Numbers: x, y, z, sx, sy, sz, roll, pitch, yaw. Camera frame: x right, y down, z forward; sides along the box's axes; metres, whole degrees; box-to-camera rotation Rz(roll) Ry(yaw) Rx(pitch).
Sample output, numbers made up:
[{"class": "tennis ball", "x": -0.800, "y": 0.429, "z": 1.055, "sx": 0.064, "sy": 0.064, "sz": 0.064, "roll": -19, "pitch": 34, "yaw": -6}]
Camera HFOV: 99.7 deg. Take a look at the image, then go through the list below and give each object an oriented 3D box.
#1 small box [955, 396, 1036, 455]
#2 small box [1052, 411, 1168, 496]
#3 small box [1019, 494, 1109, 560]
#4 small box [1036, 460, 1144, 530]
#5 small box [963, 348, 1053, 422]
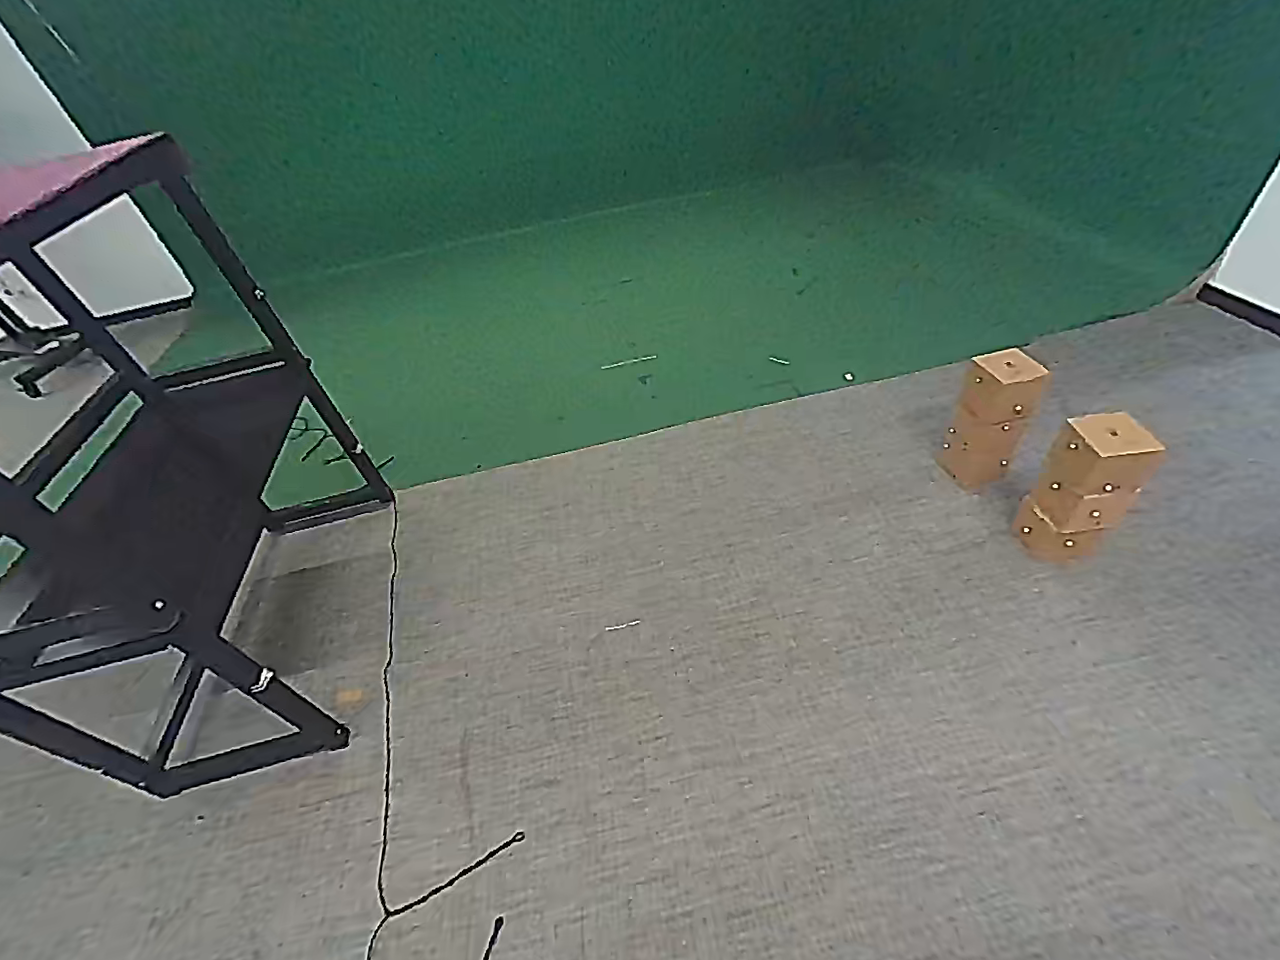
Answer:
[{"class": "small box", "x": 1.285, "y": -0.214, "z": 1.974, "sx": 0.179, "sy": 0.176, "sz": 0.168, "roll": -14, "pitch": 44, "yaw": -4}, {"class": "small box", "x": 1.359, "y": -0.076, "z": 1.582, "sx": 0.168, "sy": 0.176, "sz": 0.179, "roll": -7, "pitch": 44, "yaw": 7}, {"class": "small box", "x": 1.409, "y": 0.150, "z": 1.810, "sx": 0.179, "sy": 0.176, "sz": 0.168, "roll": -9, "pitch": 45, "yaw": 5}, {"class": "small box", "x": 1.394, "y": 0.040, "z": 1.690, "sx": 0.168, "sy": 0.176, "sz": 0.179, "roll": -9, "pitch": 44, "yaw": 3}, {"class": "small box", "x": 1.251, "y": -0.324, "z": 1.854, "sx": 0.168, "sy": 0.176, "sz": 0.179, "roll": -14, "pitch": 44, "yaw": -2}]
